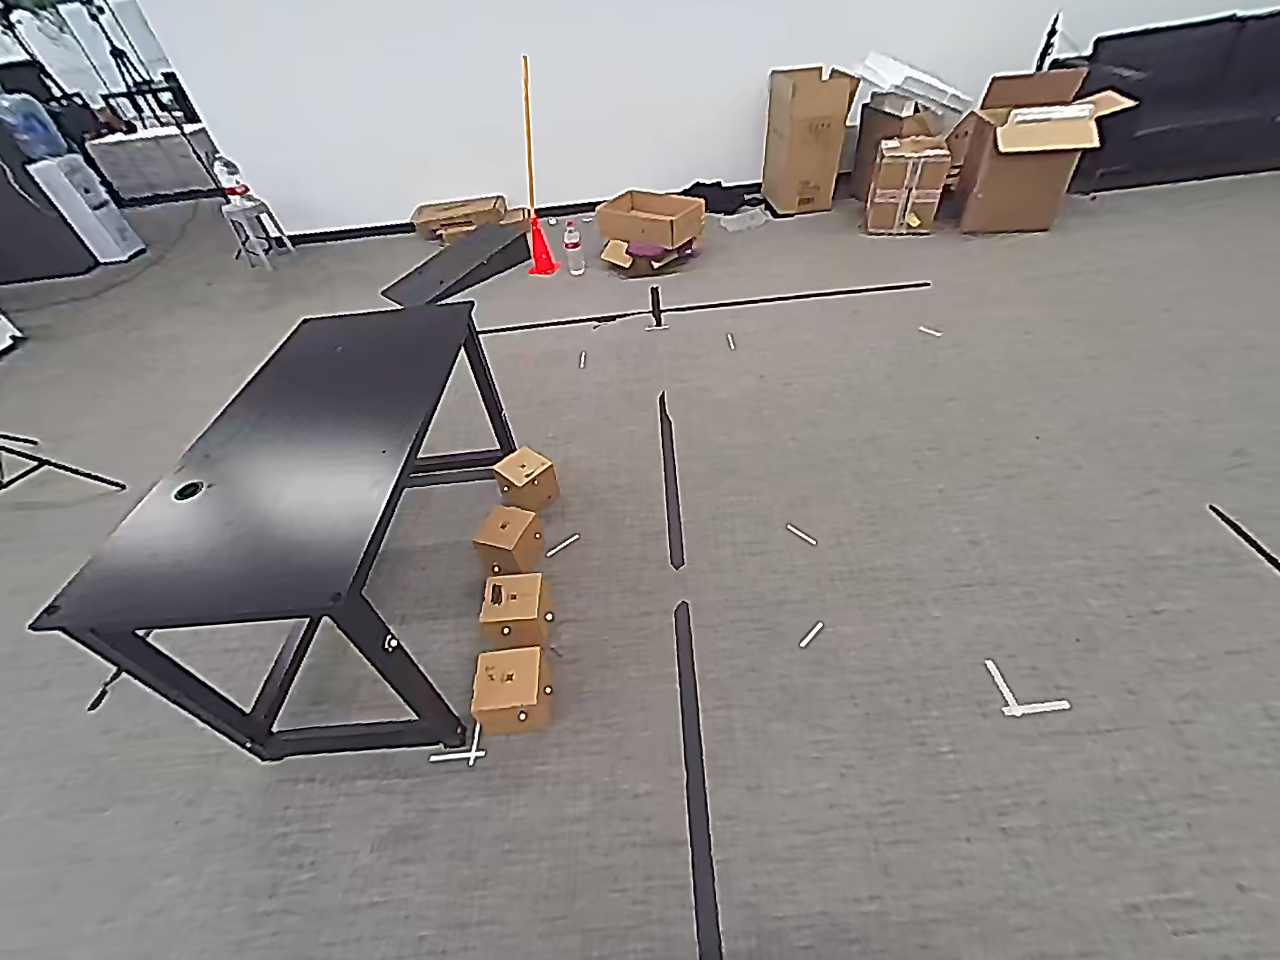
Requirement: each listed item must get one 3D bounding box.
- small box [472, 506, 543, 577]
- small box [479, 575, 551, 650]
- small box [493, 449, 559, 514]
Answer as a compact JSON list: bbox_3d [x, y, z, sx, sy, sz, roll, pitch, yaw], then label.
[{"bbox_3d":[-0.461,0.223,1.918,0.168,0.176,0.179,9,47,18],"label":"small box"},{"bbox_3d":[-0.386,0.420,1.701,0.179,0.176,0.168,-5,44,1],"label":"small box"},{"bbox_3d":[-0.447,0.010,2.133,0.179,0.176,0.168,29,55,32],"label":"small box"}]
